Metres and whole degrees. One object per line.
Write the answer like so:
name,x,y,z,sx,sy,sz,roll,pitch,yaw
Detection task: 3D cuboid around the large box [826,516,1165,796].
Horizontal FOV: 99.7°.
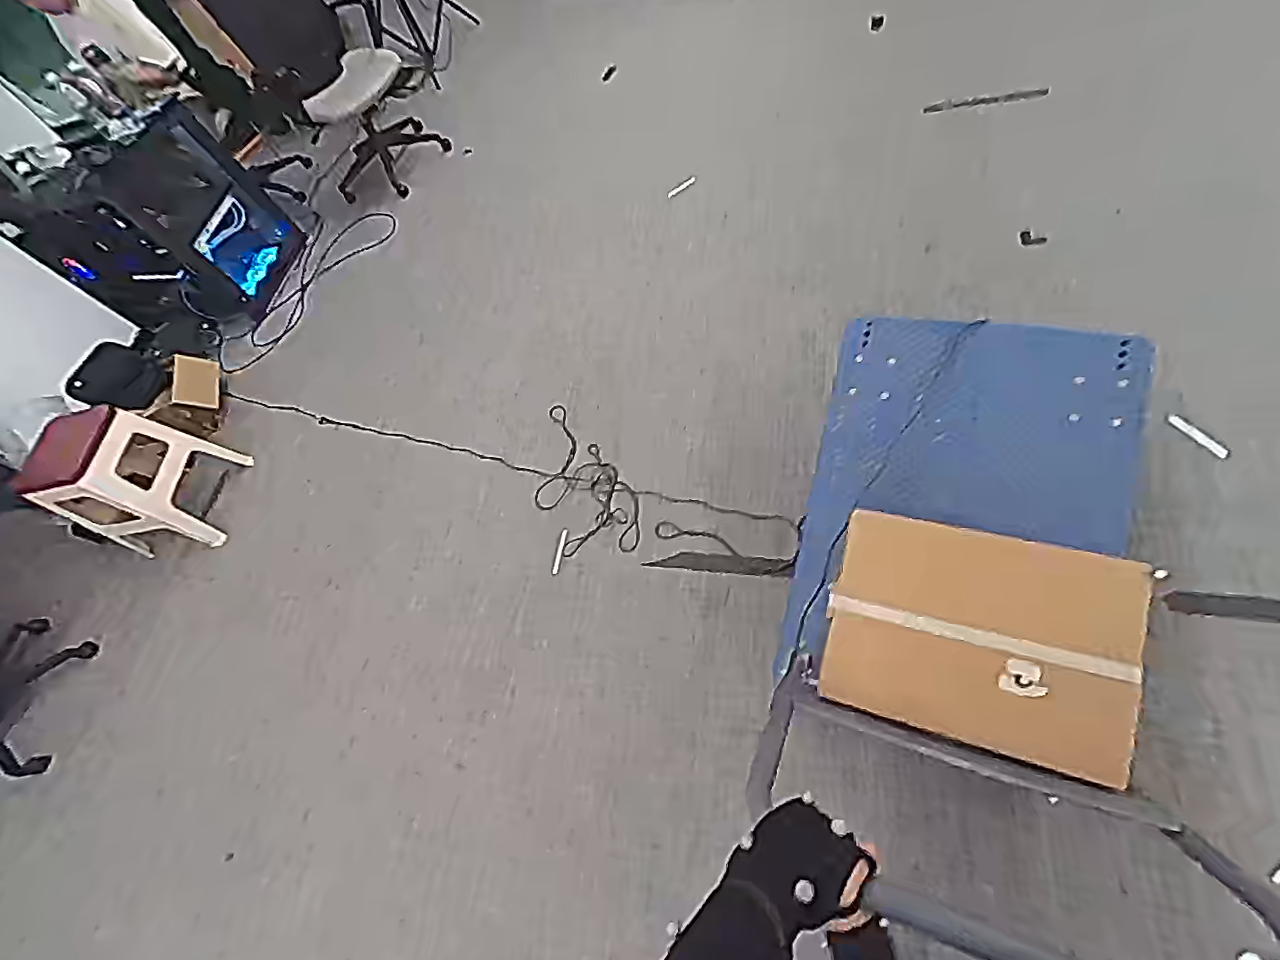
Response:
large box,0.553,0.267,0.933,0.408,0.320,0.320,12,83,21
